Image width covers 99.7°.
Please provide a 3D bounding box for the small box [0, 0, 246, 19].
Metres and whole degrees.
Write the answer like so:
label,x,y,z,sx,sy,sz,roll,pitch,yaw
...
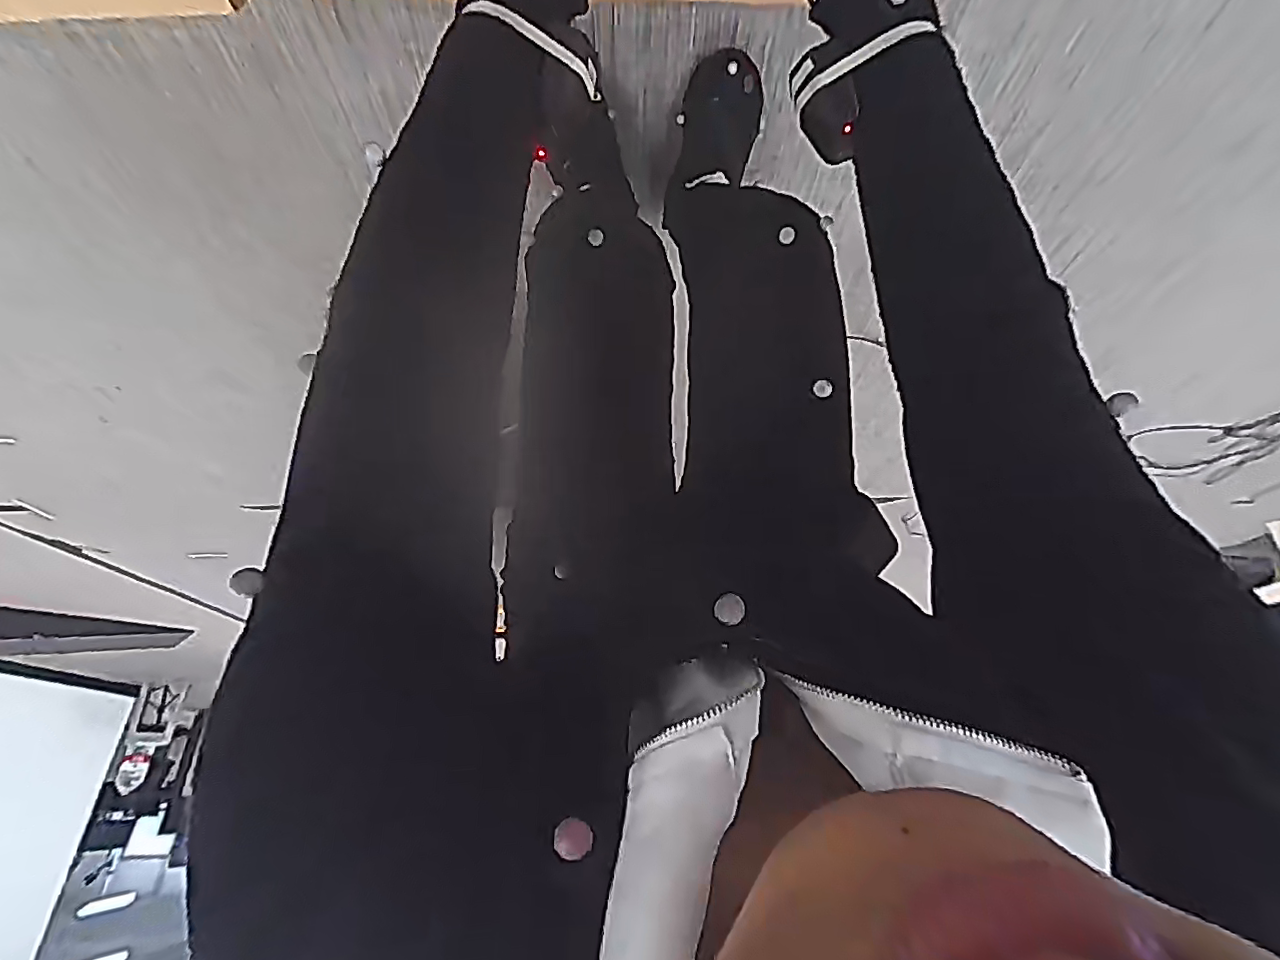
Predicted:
label,x,y,z,sx,sy,sz,roll,pitch,yaw
small box,-0.313,-0.375,0.271,0.168,0.176,0.179,-3,151,-1
